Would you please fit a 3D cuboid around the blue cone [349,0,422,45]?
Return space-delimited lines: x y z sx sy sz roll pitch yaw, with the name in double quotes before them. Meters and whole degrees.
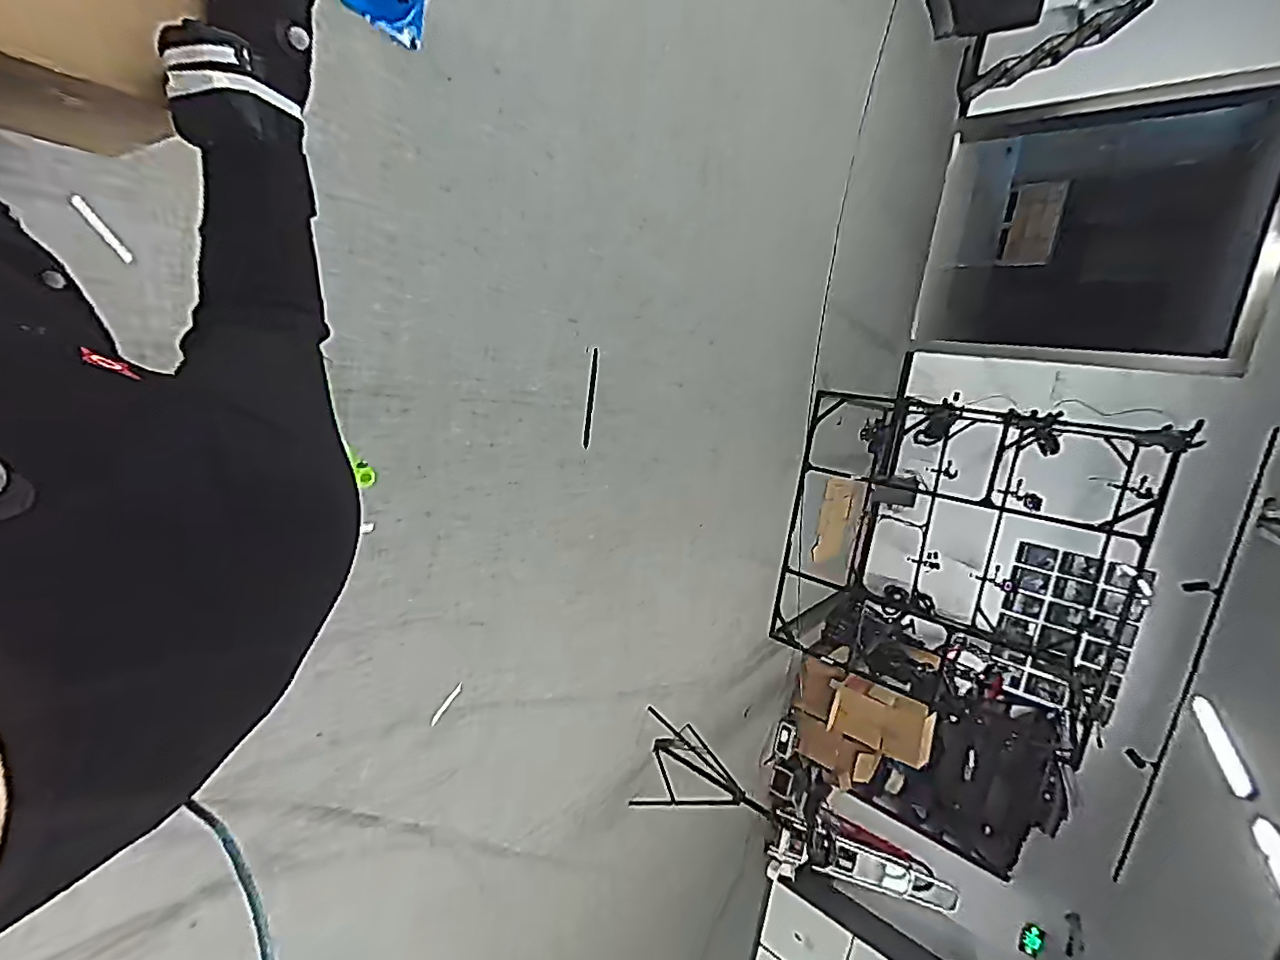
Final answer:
"blue cone" -0.478 -1.147 1.190 0.192 0.380 0.193 0 103 -55

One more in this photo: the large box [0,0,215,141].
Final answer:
"large box" -0.534 -0.437 0.290 0.408 0.320 0.320 -11 114 -53
